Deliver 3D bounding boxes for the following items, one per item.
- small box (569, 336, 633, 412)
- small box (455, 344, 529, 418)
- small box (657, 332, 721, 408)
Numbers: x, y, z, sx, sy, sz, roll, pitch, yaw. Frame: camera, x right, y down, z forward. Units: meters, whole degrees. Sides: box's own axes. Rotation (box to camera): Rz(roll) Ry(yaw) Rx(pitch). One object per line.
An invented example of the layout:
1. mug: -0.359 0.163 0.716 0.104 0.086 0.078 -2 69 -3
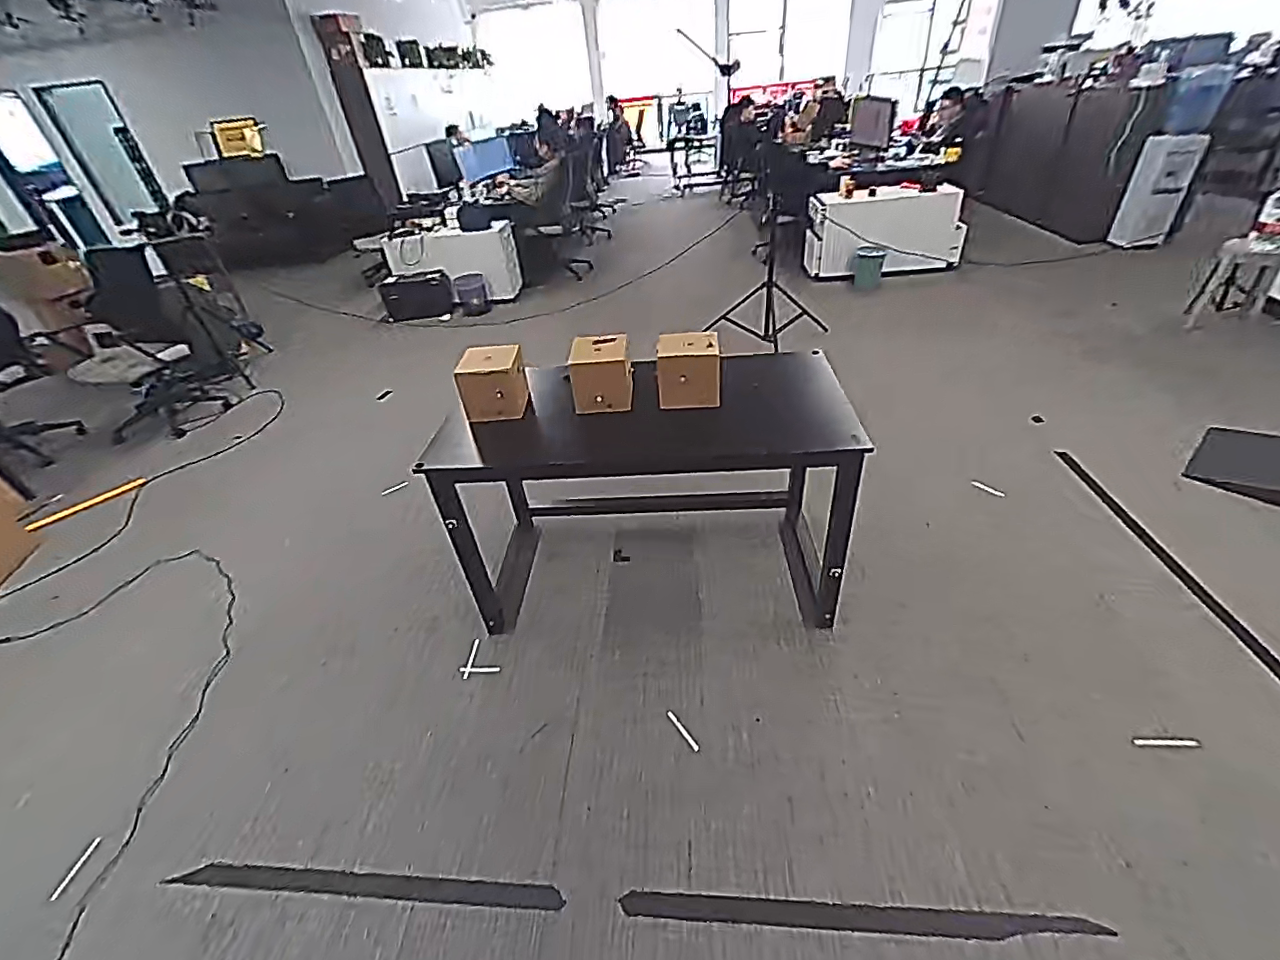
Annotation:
1. small box: -0.111 -0.320 1.631 0.168 0.176 0.179 -3 37 4
2. small box: -0.443 -0.296 1.647 0.168 0.176 0.179 -4 36 1
3. small box: 0.147 -0.324 1.602 0.179 0.176 0.168 -2 37 7
